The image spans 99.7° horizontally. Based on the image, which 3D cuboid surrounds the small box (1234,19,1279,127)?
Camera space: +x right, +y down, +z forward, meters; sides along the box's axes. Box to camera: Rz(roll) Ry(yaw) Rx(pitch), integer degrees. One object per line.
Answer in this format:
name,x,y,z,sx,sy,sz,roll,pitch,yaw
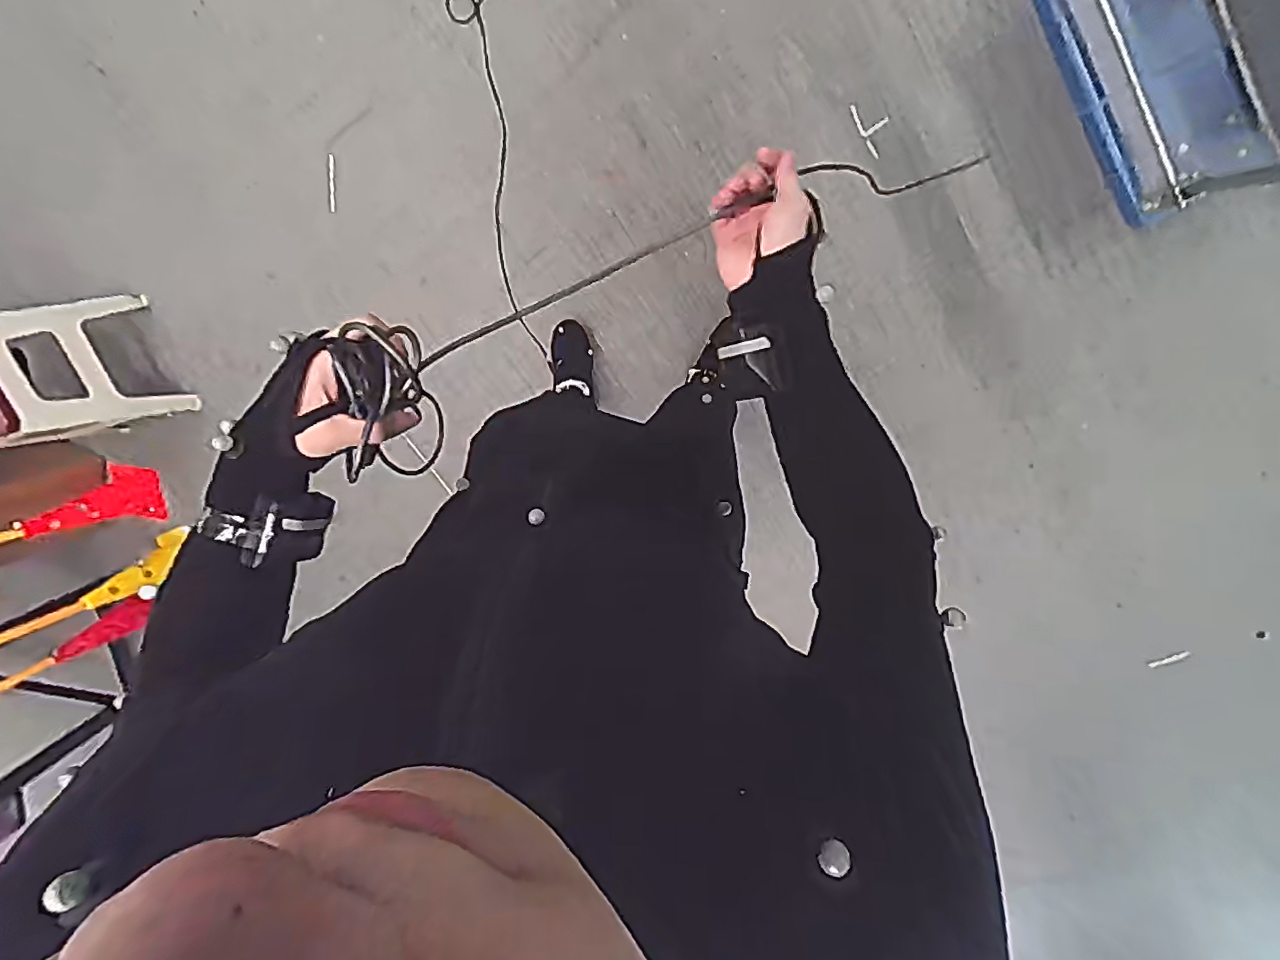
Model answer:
small box,1.200,-0.748,0.921,0.179,0.176,0.168,-29,103,19
